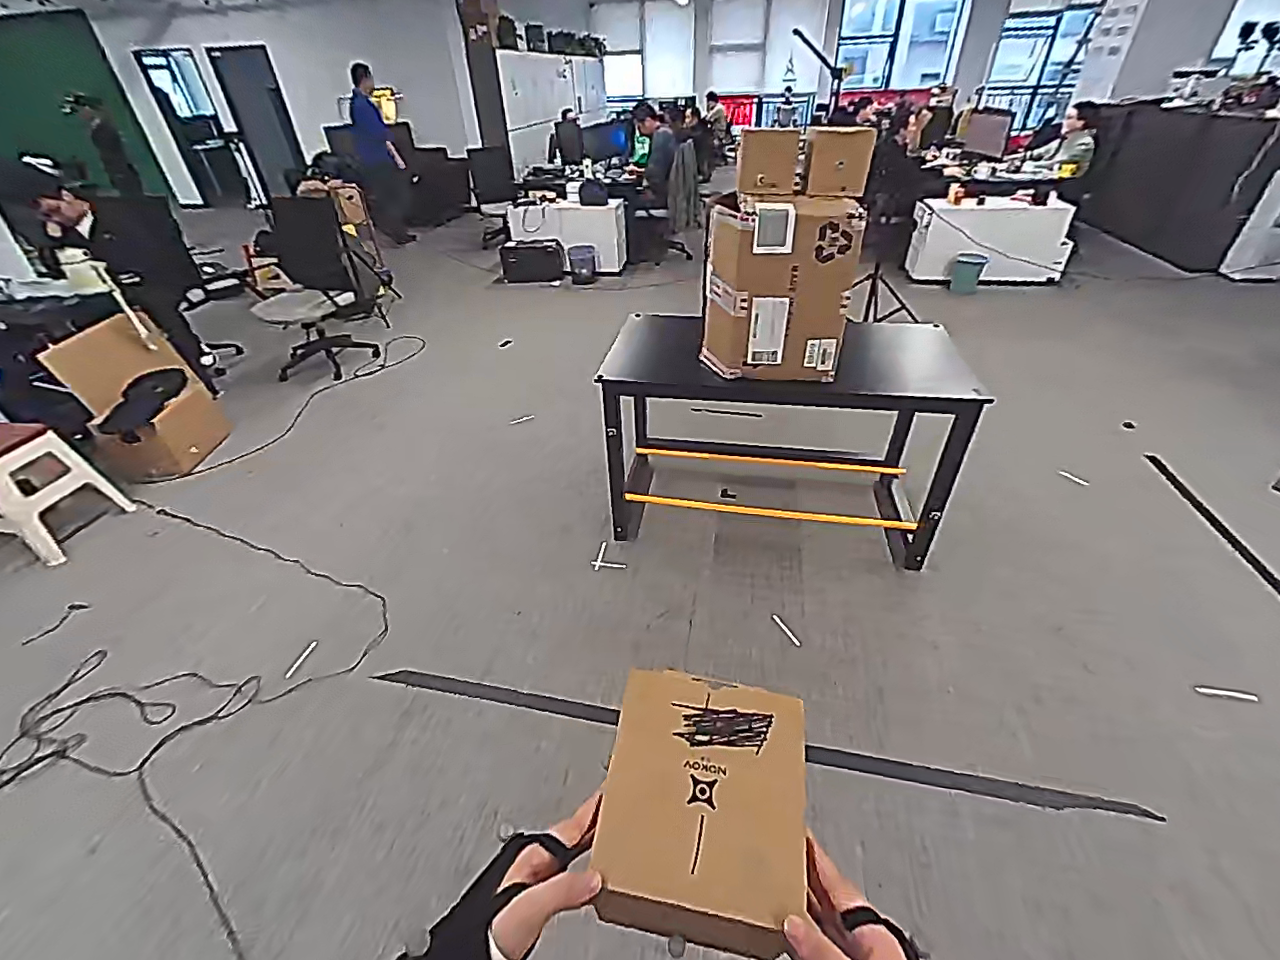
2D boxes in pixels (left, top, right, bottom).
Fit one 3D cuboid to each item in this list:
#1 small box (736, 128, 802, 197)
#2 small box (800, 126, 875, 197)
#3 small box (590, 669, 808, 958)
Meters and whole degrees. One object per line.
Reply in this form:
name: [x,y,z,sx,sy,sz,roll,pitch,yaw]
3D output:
small box: [0.386,-0.970,1.647,0.168,0.176,0.179,2,35,5]
small box: [0.584,-0.955,1.620,0.168,0.176,0.179,4,37,4]
small box: [0.057,0.311,0.510,0.168,0.176,0.179,7,44,9]
